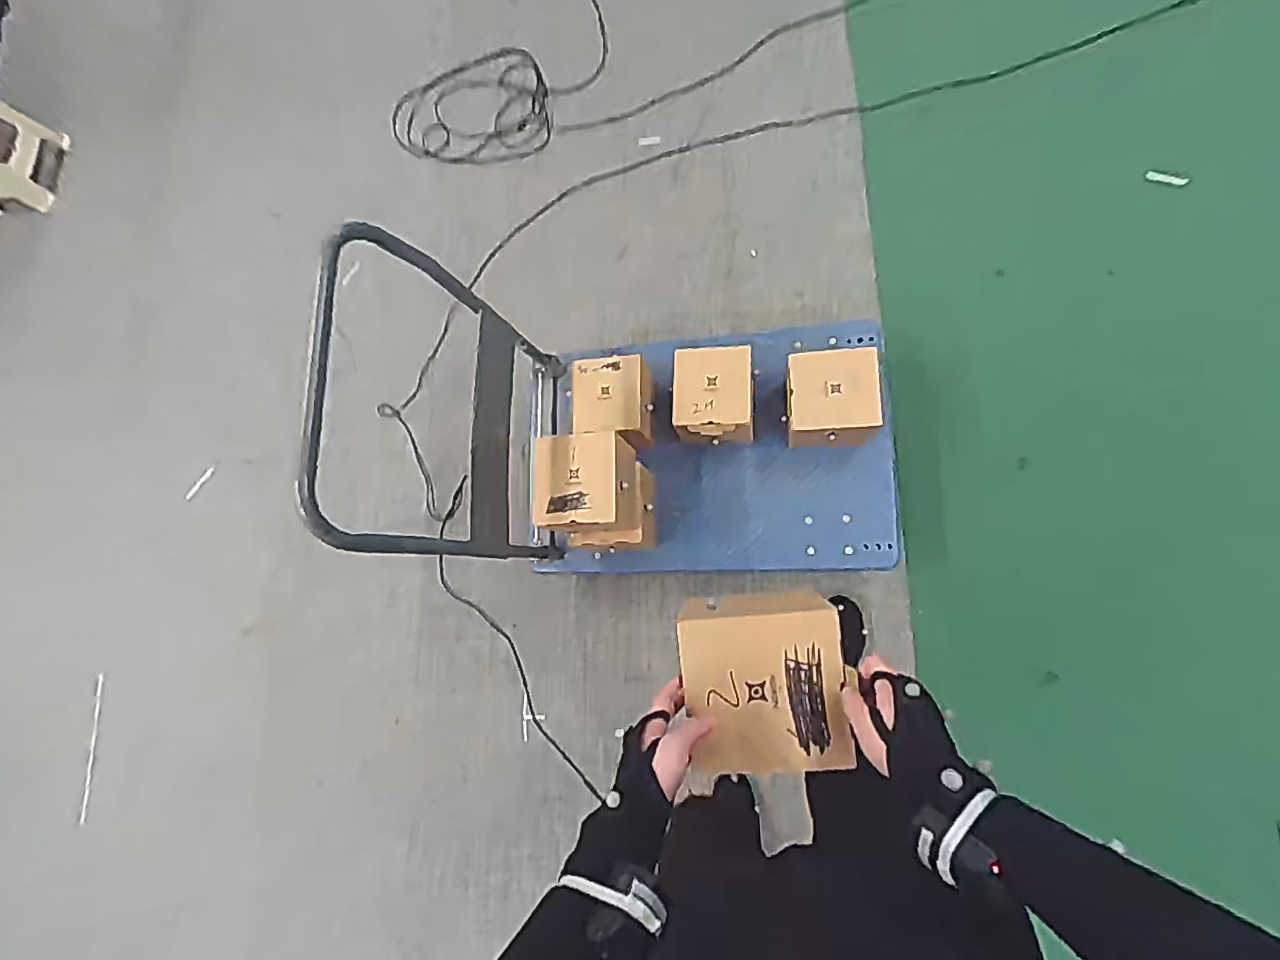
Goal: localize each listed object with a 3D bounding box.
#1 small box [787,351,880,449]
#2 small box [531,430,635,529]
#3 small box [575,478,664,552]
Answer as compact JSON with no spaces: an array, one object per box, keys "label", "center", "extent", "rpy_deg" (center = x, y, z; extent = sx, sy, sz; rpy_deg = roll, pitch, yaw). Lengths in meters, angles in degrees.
[{"label":"small box","center":[0.410,-0.165,1.170],"extent":[0.179,0.176,0.168],"rpy_deg":[-1,81,13]},{"label":"small box","center":[-0.107,0.007,1.089],"extent":[0.168,0.176,0.179],"rpy_deg":[-2,79,12]},{"label":"small box","center":[-0.067,0.060,1.250],"extent":[0.179,0.176,0.168],"rpy_deg":[29,89,17]}]
